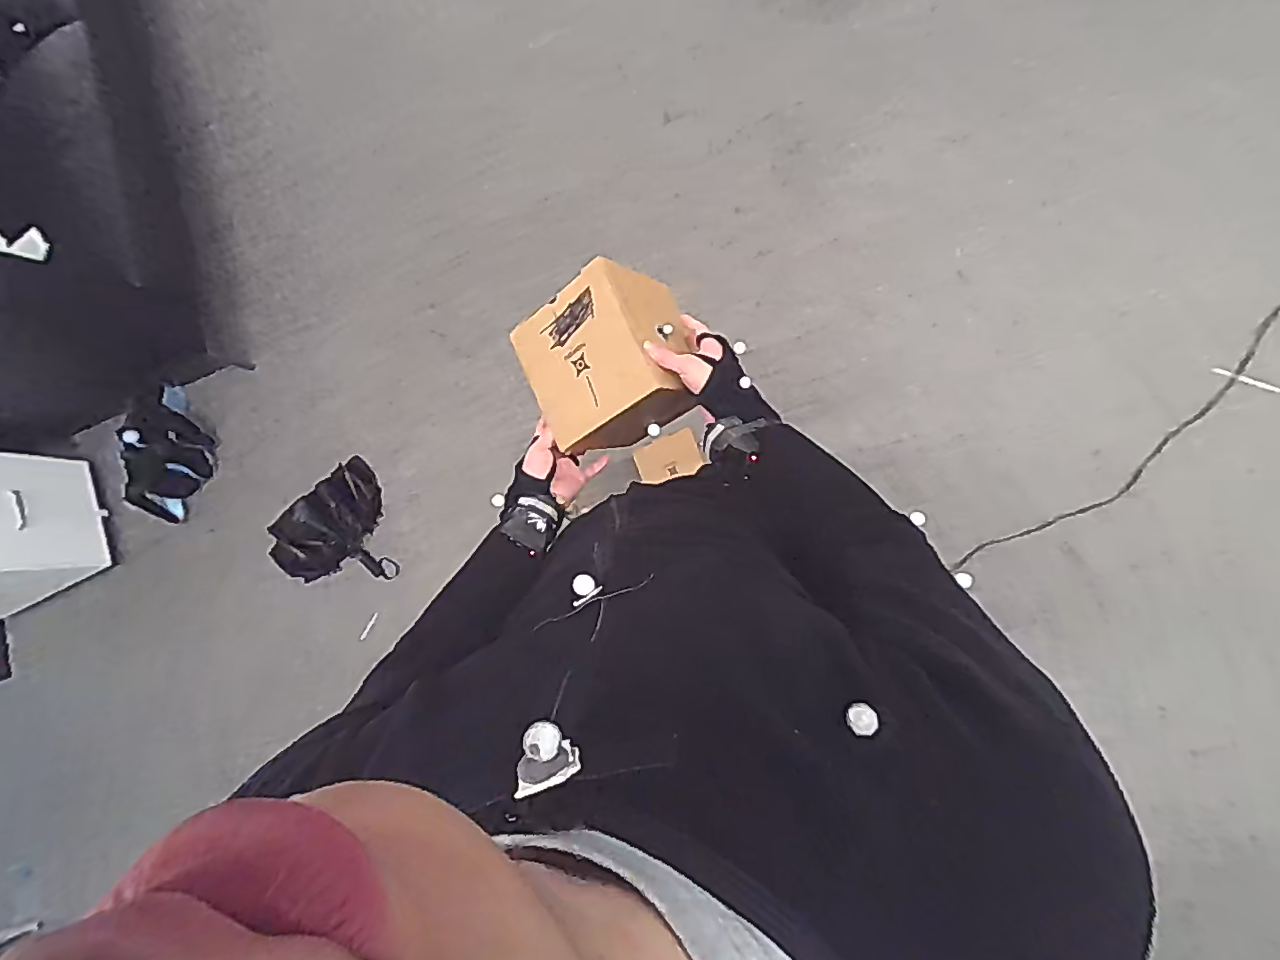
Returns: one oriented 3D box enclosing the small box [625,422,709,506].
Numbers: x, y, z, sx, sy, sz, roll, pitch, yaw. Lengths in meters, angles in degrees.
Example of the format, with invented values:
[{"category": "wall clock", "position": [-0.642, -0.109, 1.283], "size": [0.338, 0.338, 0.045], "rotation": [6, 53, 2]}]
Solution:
[{"category": "small box", "position": [0.080, -0.036, 1.472], "size": [0.168, 0.176, 0.179], "rotation": [-23, 83, 10]}]
